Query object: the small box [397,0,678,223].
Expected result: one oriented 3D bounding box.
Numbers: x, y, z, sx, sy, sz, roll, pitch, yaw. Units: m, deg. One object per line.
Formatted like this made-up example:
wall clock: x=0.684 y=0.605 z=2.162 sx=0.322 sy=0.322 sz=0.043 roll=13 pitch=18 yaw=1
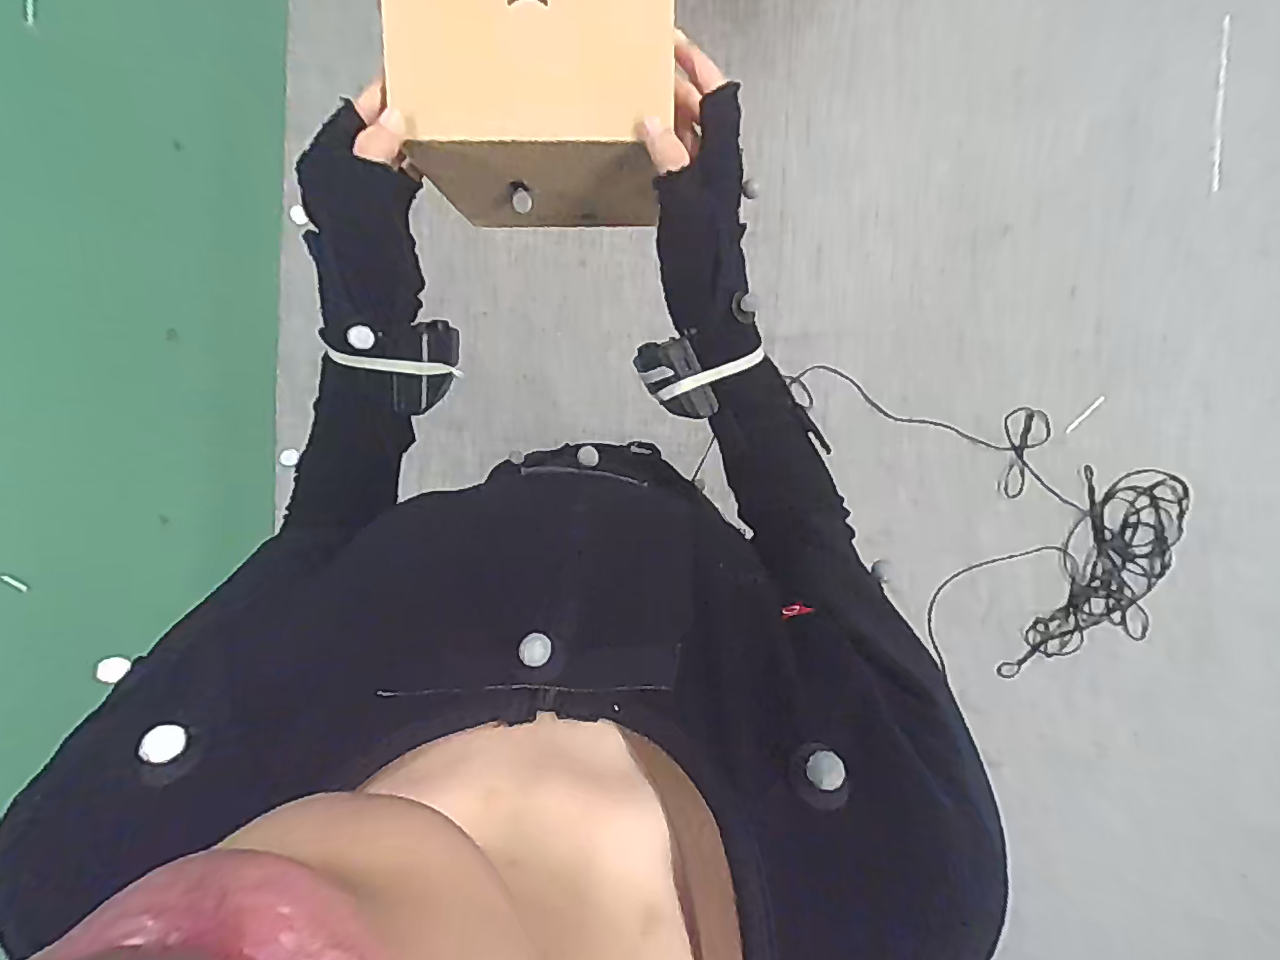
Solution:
small box: x=-0.059 y=-0.296 z=0.389 sx=0.168 sy=0.176 sz=0.179 roll=-1 pitch=99 yaw=-1
